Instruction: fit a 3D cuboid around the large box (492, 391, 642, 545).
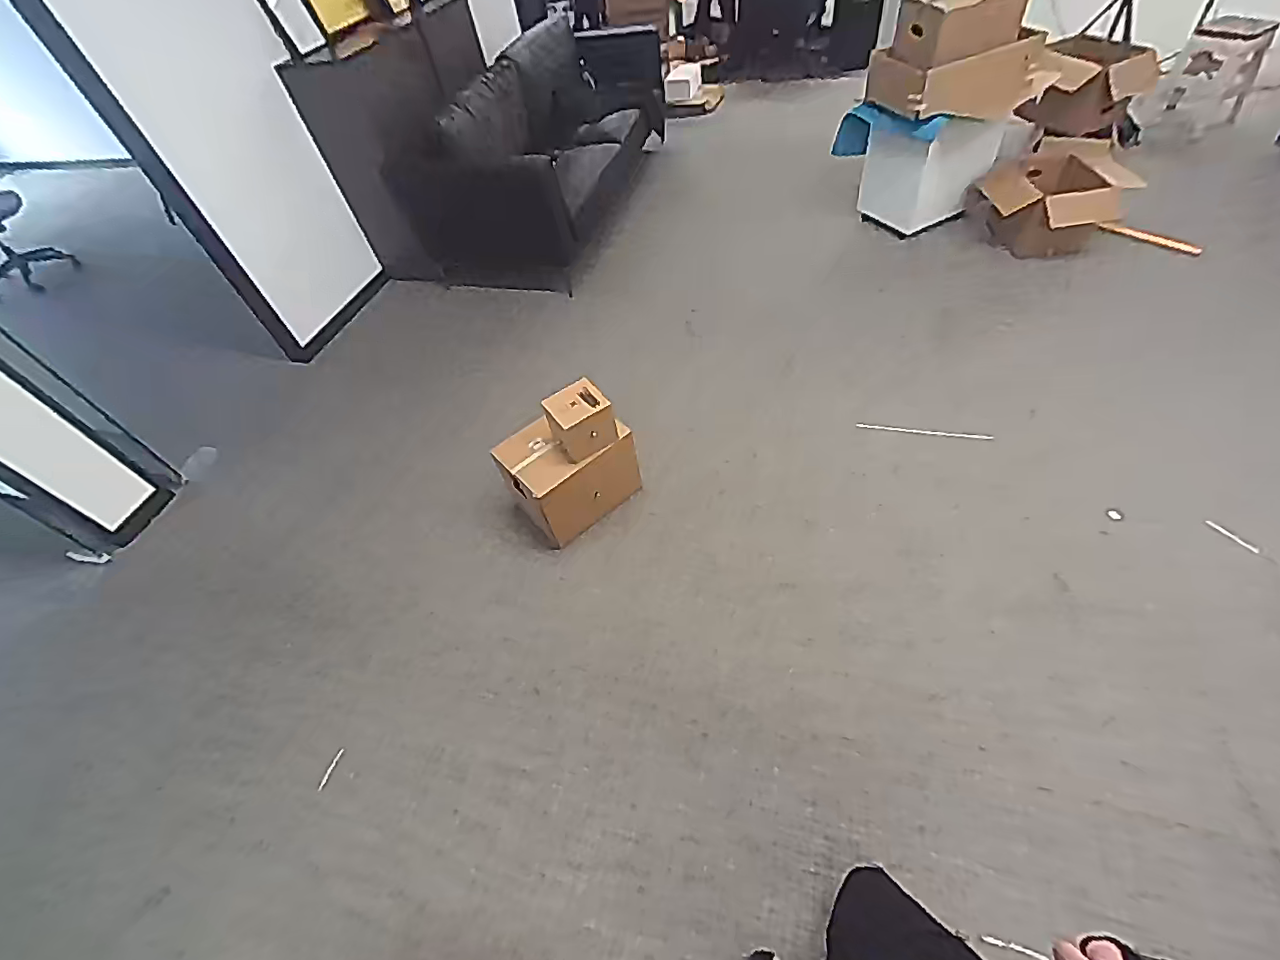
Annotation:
[{"bbox_3d":[-0.250,-0.046,1.974,0.408,0.320,0.320,-39,54,-19],"label":"large box"}]
